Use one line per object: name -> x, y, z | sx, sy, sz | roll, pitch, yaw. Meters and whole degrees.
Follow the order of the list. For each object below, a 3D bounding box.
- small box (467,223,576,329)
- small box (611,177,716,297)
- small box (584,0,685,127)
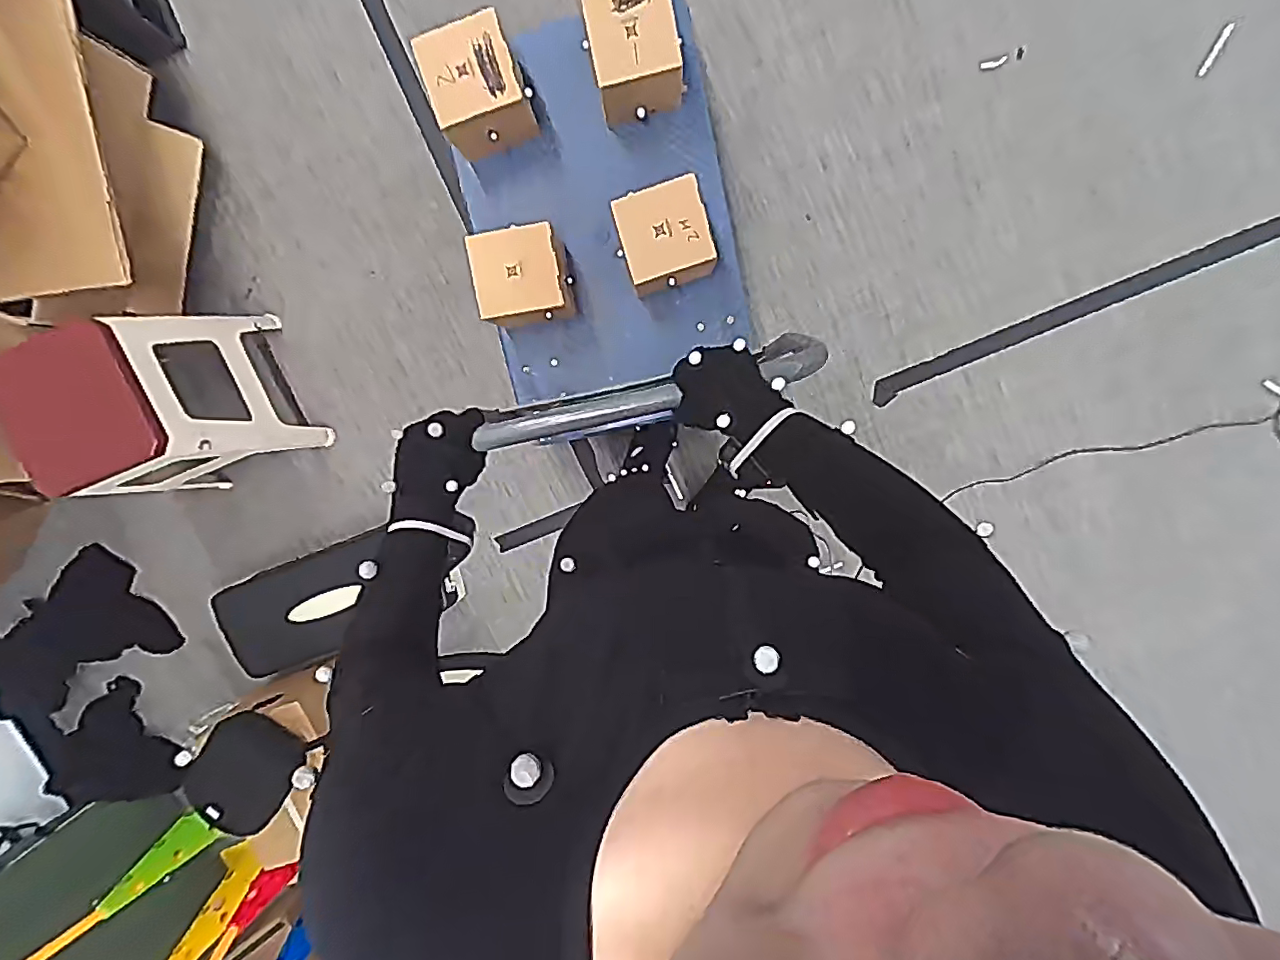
small box -> -0.248, -0.429, 1.166 | 0.179, 0.176, 0.168 | -9, 99, 2
small box -> 0.052, -0.500, 1.141 | 0.179, 0.176, 0.168 | -16, 99, 5
small box -> -0.010, -0.852, 1.082 | 0.168, 0.176, 0.179 | -11, 100, 5
